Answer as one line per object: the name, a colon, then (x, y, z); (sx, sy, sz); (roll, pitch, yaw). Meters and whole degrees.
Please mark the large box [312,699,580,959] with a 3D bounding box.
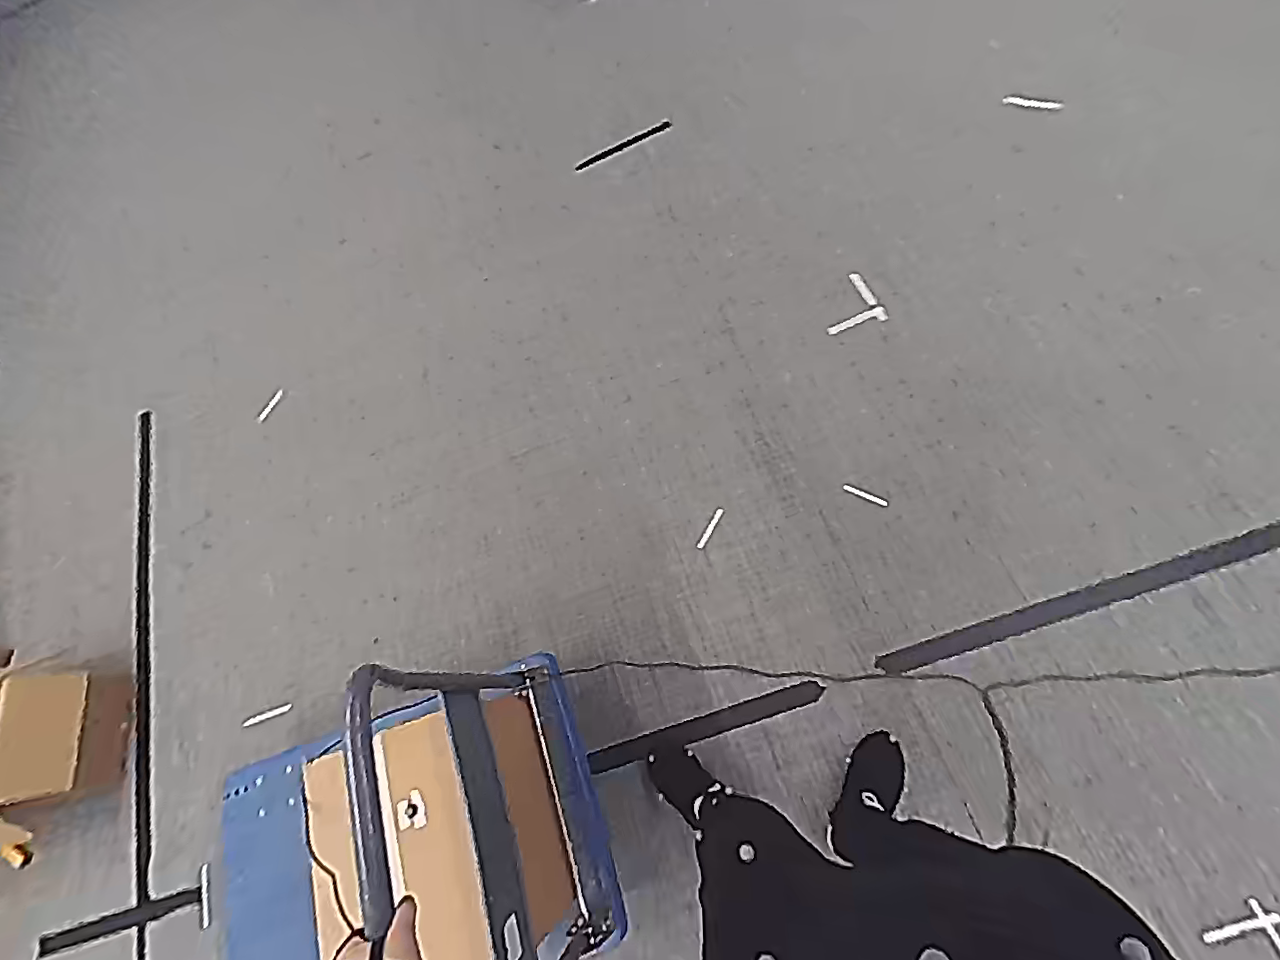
large box: (-0.354, 0.676, 1.028); (0.320, 0.320, 0.408); (-23, 67, 4)
